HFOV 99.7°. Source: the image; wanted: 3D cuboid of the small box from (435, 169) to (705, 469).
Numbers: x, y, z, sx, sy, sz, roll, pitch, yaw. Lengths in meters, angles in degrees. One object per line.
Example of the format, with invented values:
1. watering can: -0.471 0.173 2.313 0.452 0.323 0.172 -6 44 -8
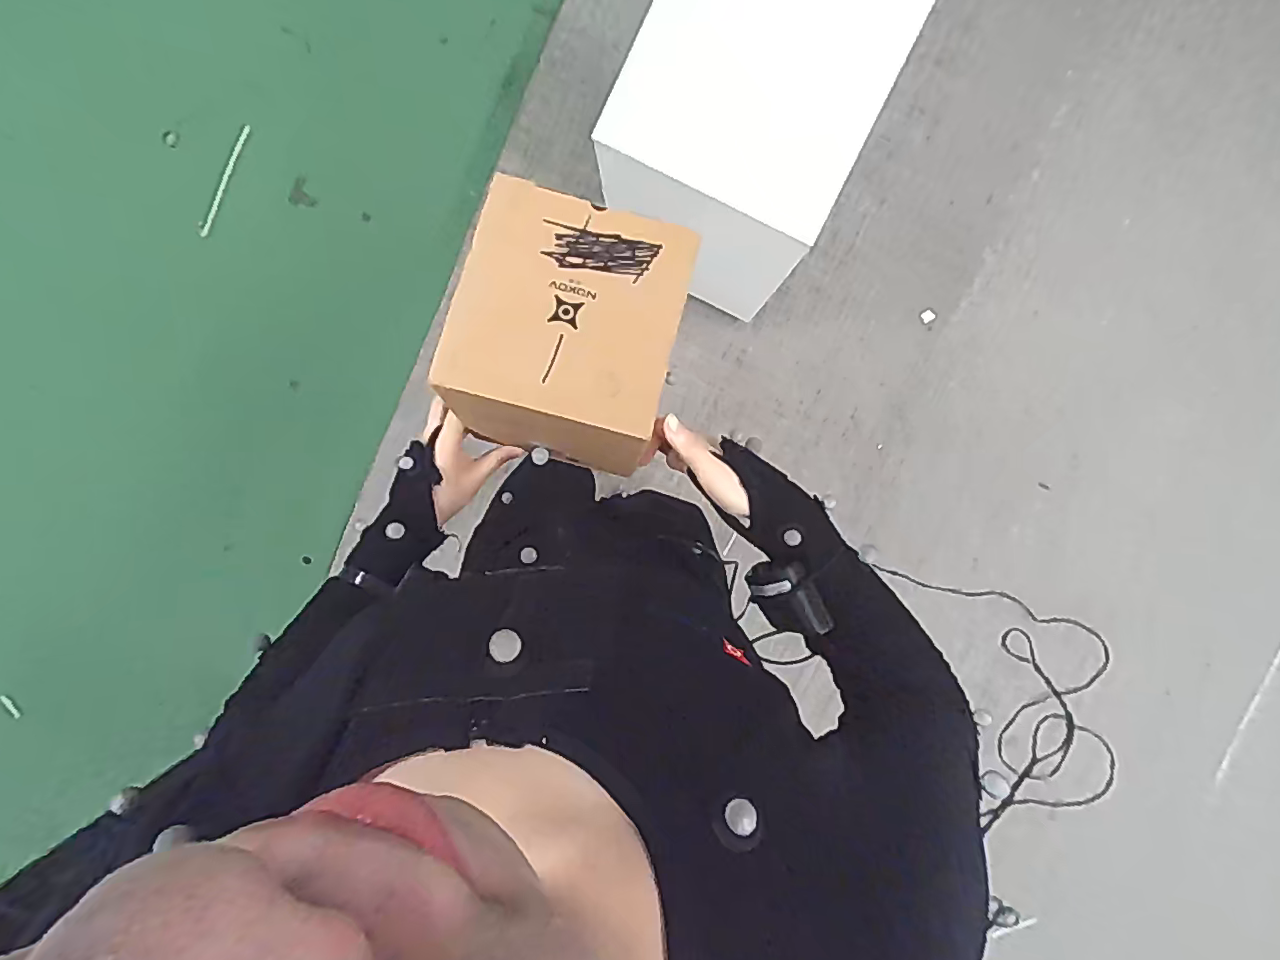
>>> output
1. small box: -0.056 -0.124 0.483 0.168 0.176 0.179 16 80 -3
